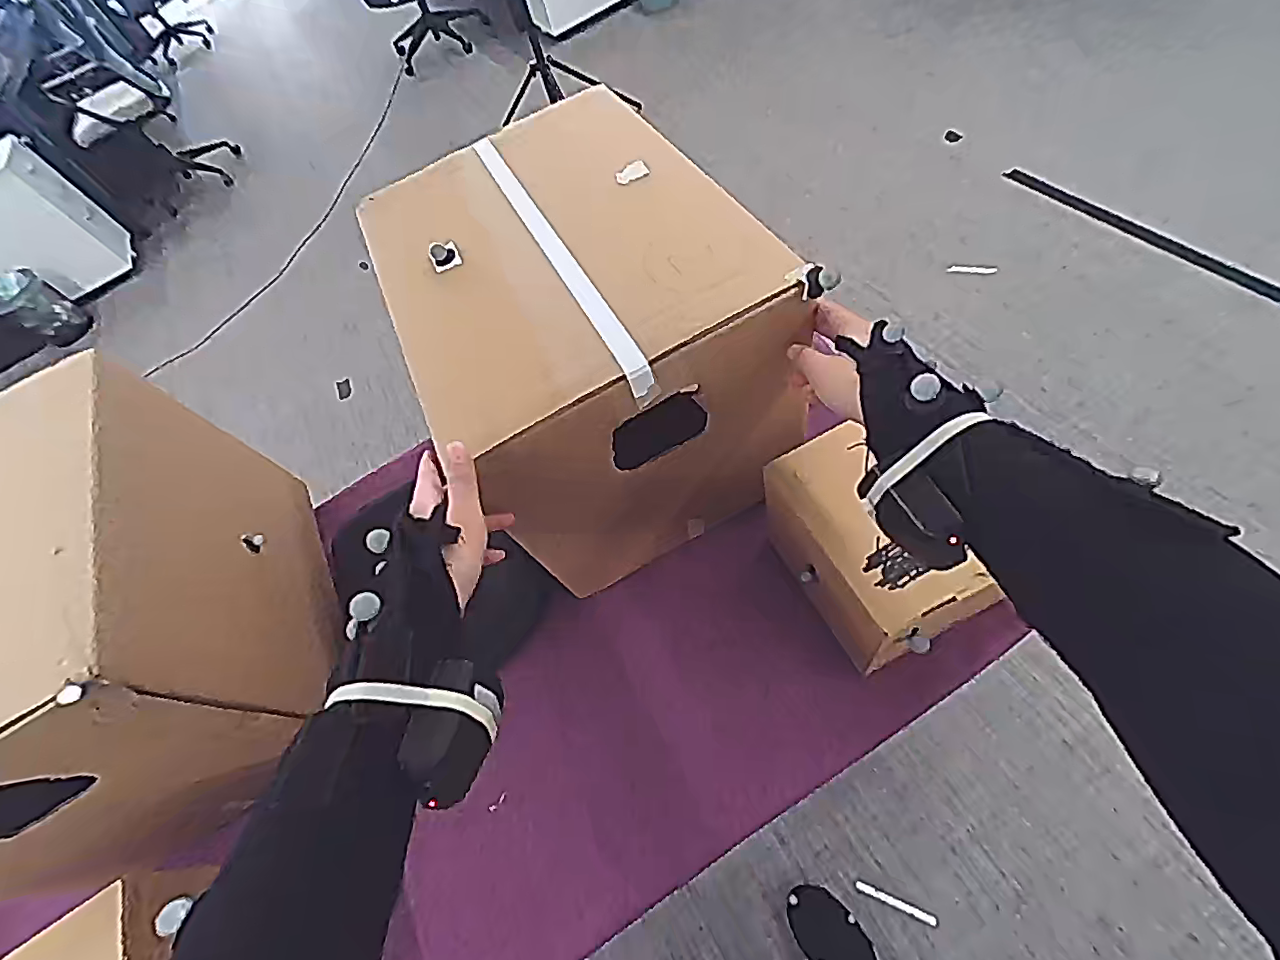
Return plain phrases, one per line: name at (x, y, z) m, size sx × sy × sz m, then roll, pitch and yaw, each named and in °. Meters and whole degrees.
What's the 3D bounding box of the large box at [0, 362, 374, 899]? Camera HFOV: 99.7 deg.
large box at (-0.567, 0.158, 0.593) m, size 0.320 × 0.320 × 0.408 m, roll -34°, pitch 60°, yaw -5°
